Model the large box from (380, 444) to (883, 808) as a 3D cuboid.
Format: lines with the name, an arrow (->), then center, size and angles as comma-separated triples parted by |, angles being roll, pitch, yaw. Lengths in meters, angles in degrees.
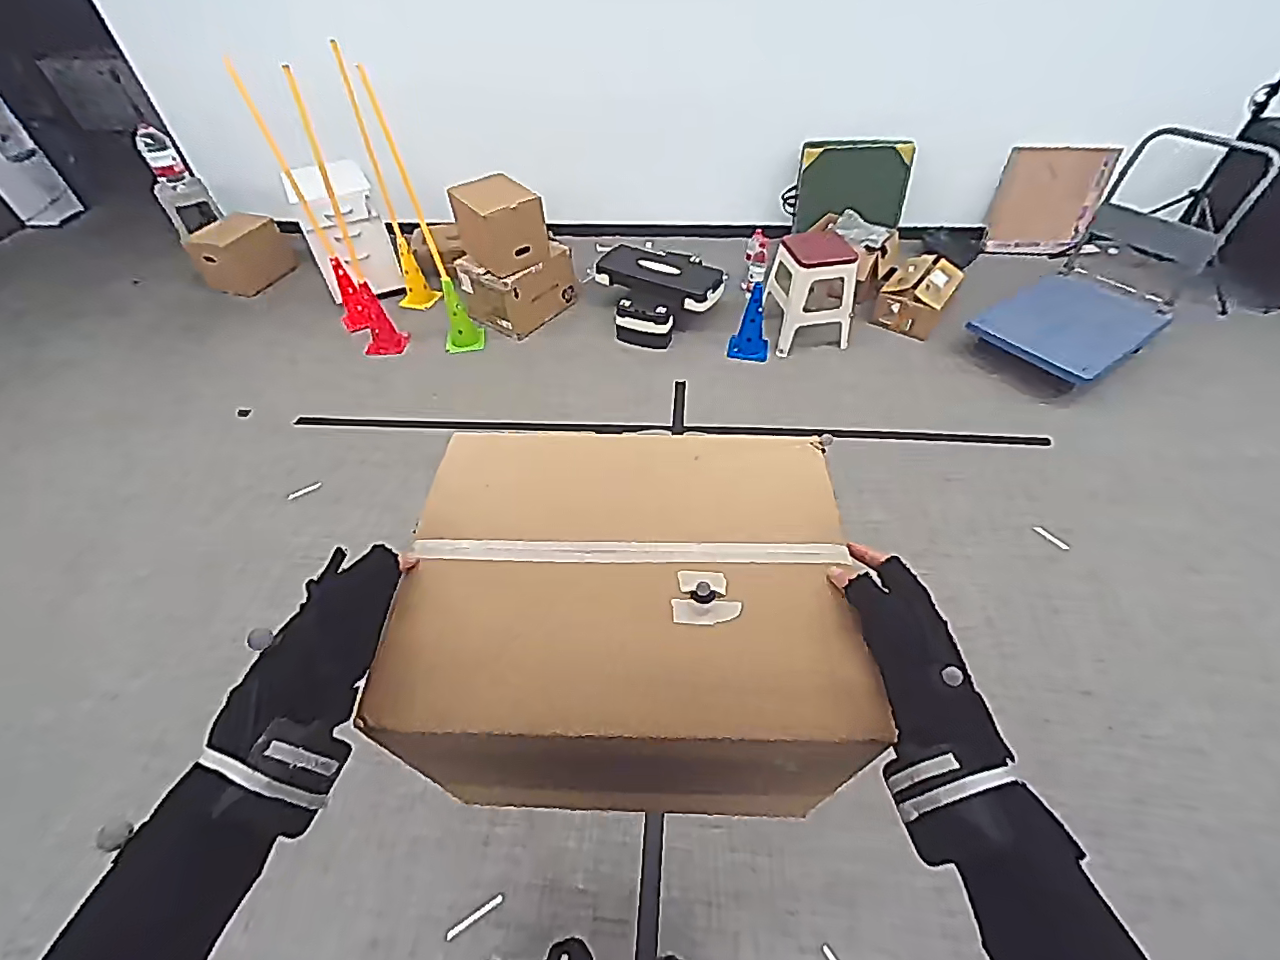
large box -> -0.006, 0.174, 0.628 | 0.408, 0.320, 0.320 | 1, 50, 1

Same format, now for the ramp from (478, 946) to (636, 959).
ramp -> -0.120, 1.404, 0.856 | 0.509, 0.206, 0.991 | 2, 49, 1
